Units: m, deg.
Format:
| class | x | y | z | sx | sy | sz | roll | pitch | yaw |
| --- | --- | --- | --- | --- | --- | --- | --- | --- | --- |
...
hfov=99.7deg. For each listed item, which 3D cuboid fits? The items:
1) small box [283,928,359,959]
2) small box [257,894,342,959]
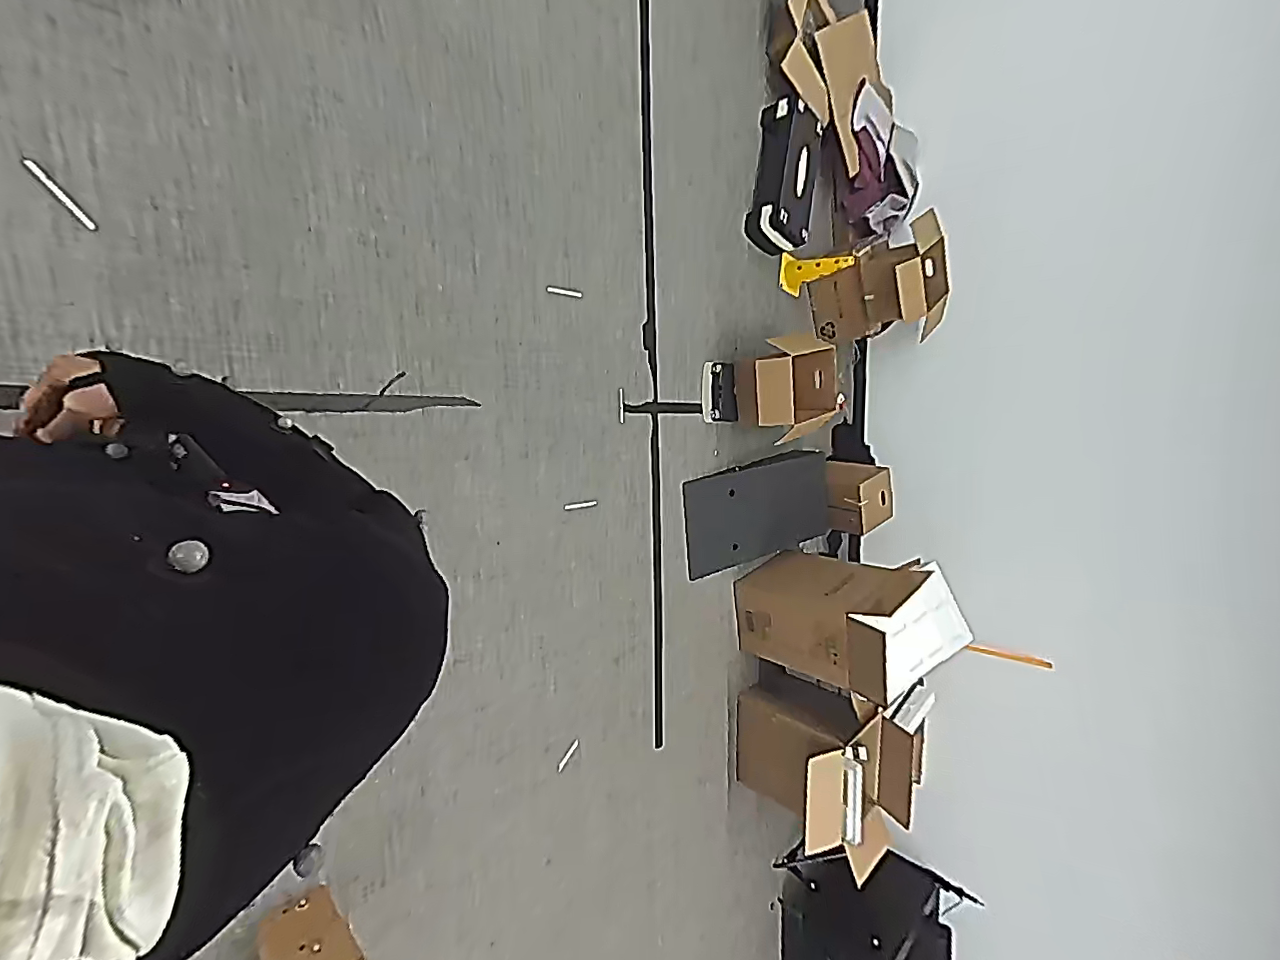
| class | x | y | z | sx | sy | sz | roll | pitch | yaw |
| --- | --- | --- | --- | --- | --- | --- | --- | --- | --- |
| small box | -0.792 | 1.286 | 1.341 | 0.168 | 0.176 | 0.179 | -6 | 97 | -45 |
| small box | -0.913 | 1.279 | 1.452 | 0.168 | 0.176 | 0.179 | -5 | 97 | -45 |
